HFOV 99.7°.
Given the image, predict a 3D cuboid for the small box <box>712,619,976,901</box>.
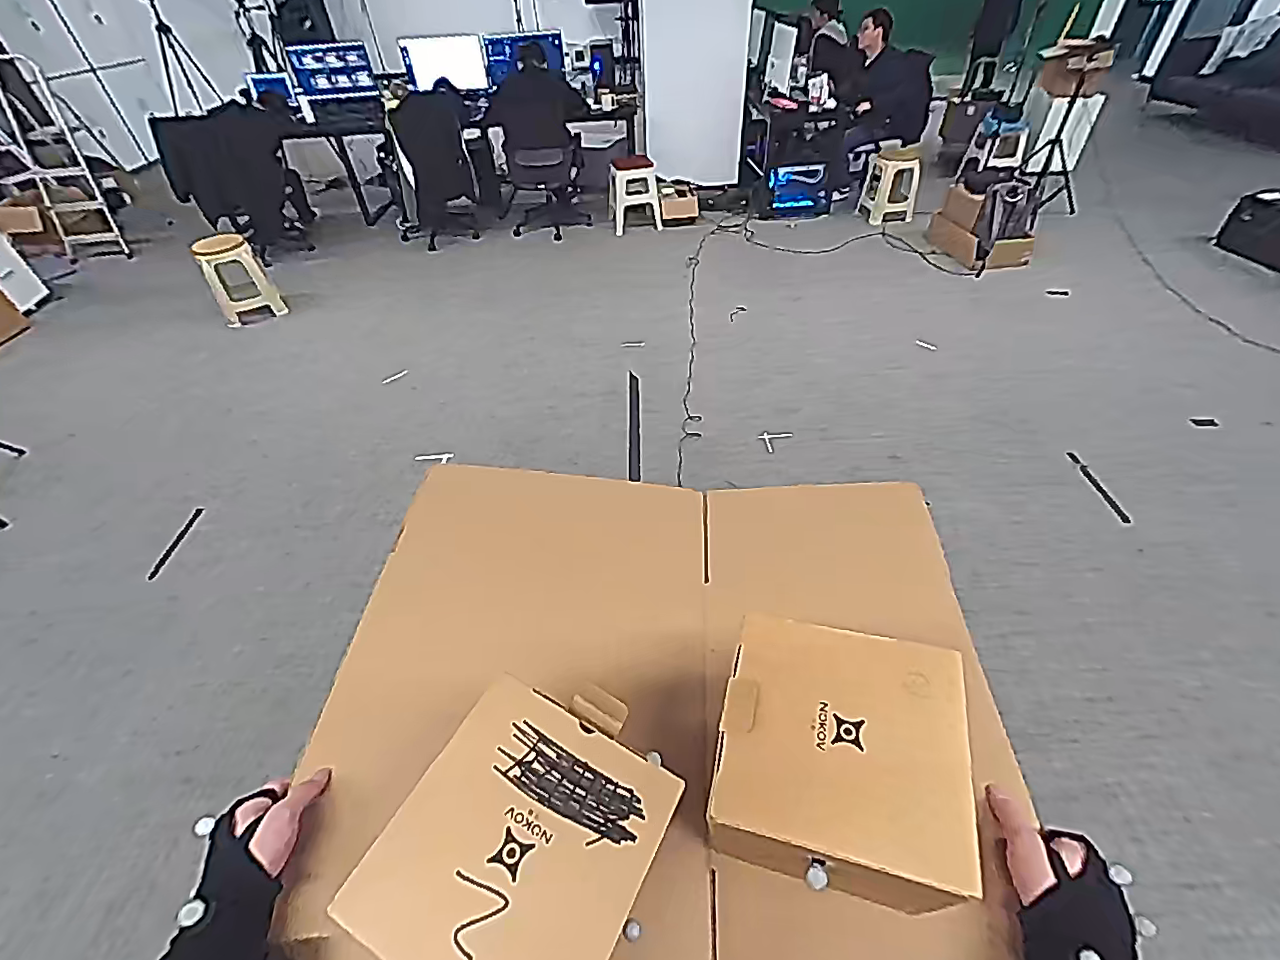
[{"bbox_3d":[0.170,0.248,0.479,0.179,0.176,0.168,6,51,18],"label":"small box"}]
